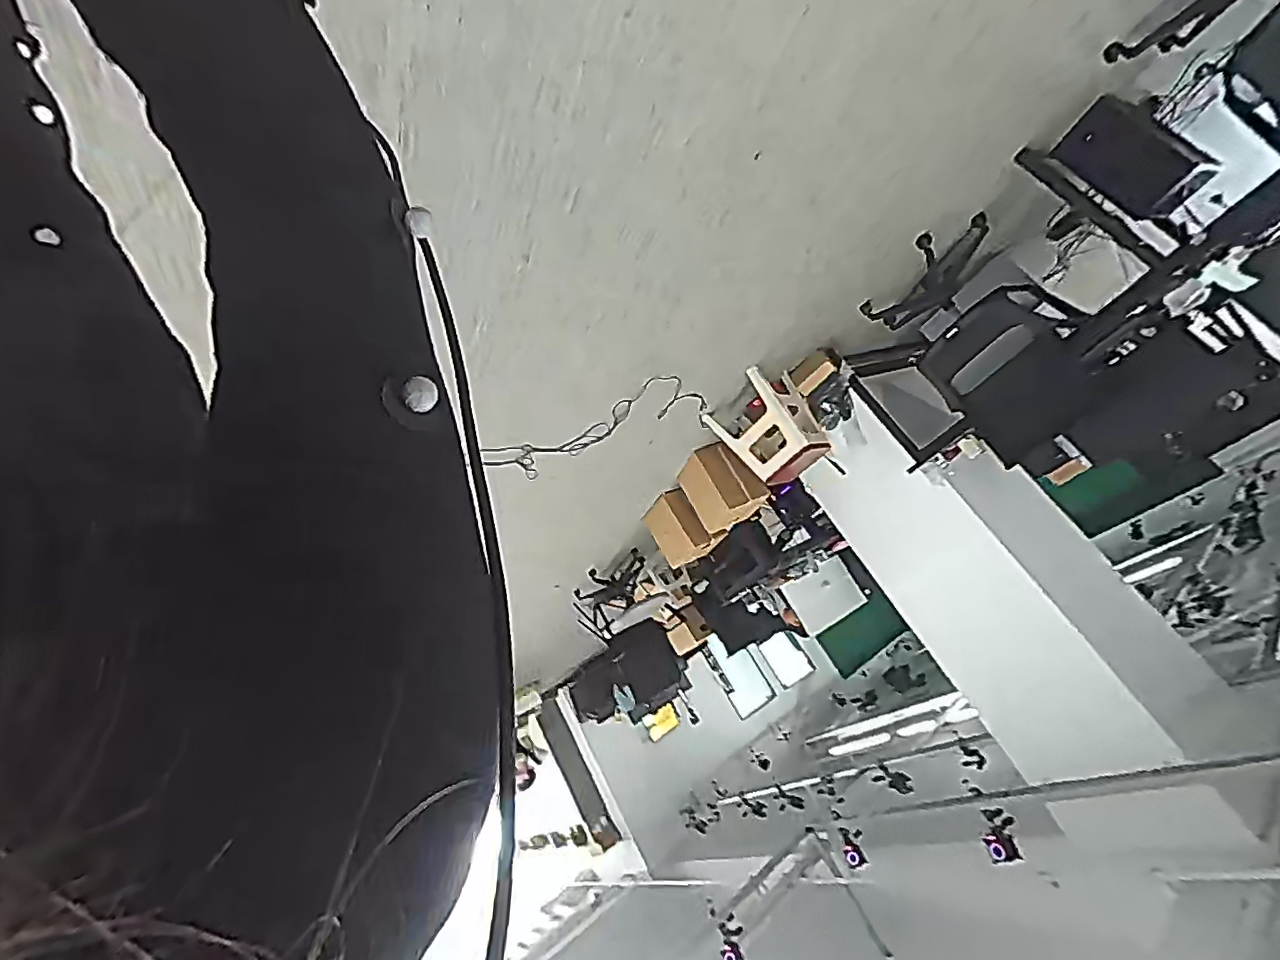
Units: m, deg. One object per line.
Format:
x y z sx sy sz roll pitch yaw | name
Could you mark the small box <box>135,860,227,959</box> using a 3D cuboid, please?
-1.394 1.297 1.642 0.179 0.176 0.168 -19 156 -33 | small box
